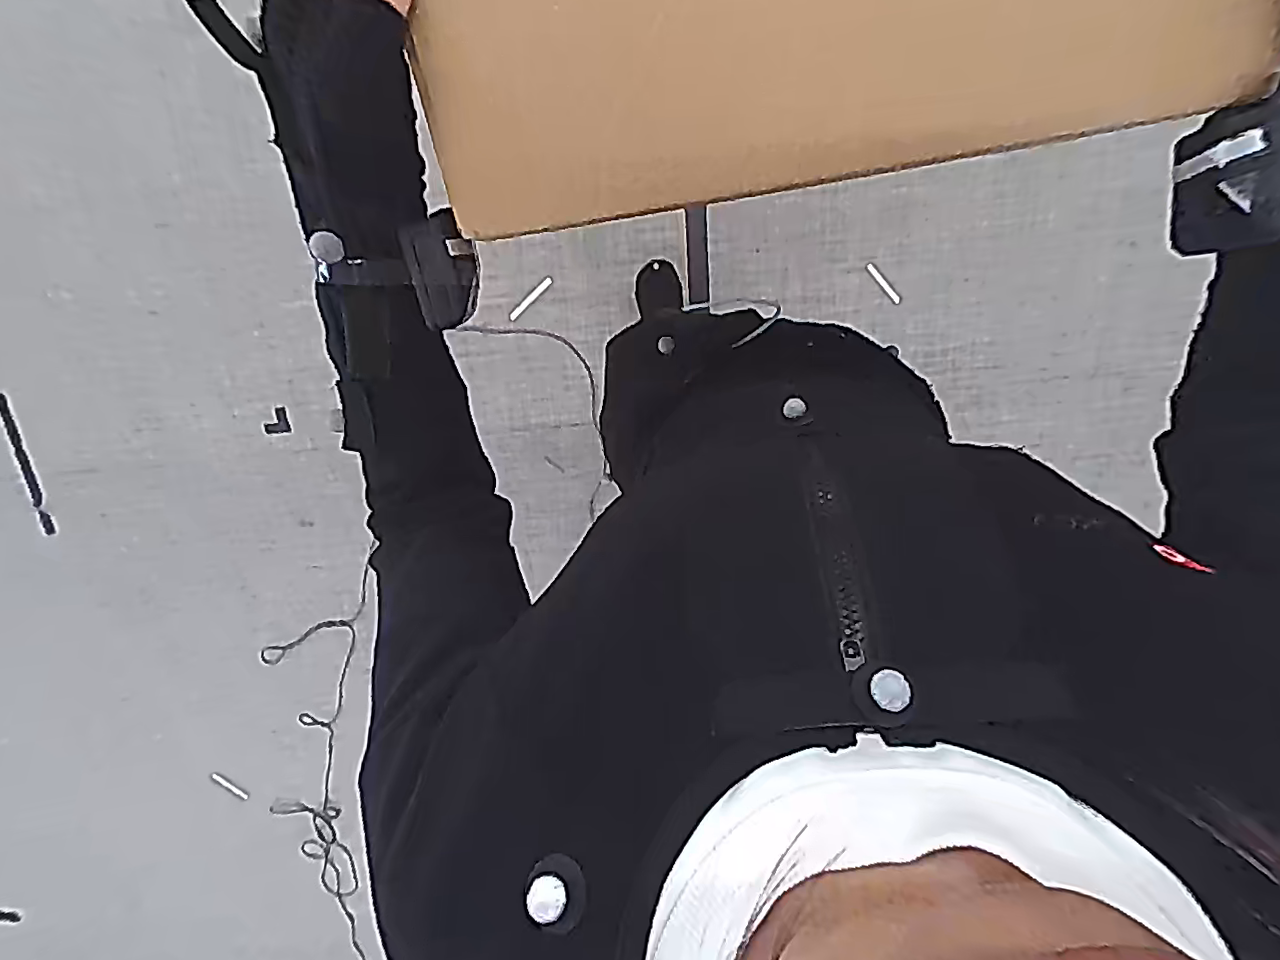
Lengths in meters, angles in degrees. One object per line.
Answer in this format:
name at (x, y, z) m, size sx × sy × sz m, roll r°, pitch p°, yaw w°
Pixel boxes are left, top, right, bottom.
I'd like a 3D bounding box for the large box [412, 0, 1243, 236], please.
large box at (0.076, -0.370, 0.361) m, size 0.408 × 0.320 × 0.320 m, roll -8°, pitch 117°, yaw 5°
